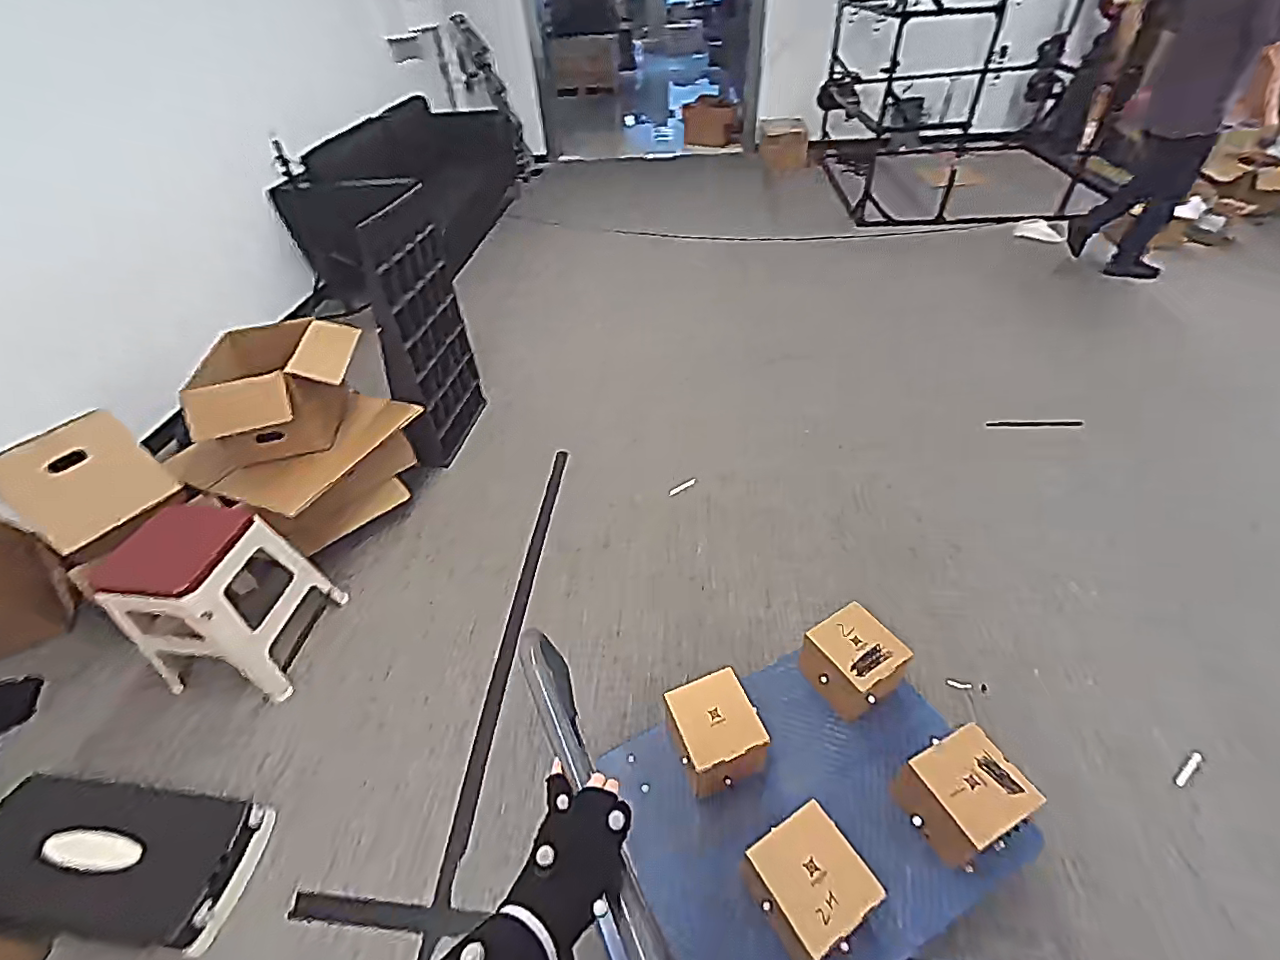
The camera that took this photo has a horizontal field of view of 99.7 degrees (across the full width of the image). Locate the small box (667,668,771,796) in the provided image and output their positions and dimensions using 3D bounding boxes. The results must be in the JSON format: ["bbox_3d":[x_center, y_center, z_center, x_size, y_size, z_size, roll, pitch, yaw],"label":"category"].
[{"bbox_3d":[0.164,0.555,1.191,0.168,0.176,0.179,-17,45,-14],"label":"small box"}]

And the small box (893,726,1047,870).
[{"bbox_3d":[0.637,0.629,1.071,0.179,0.176,0.168,-20,45,-15],"label":"small box"}]

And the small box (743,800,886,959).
[{"bbox_3d":[0.303,0.735,0.983,0.168,0.176,0.179,-24,46,-20],"label":"small box"}]
